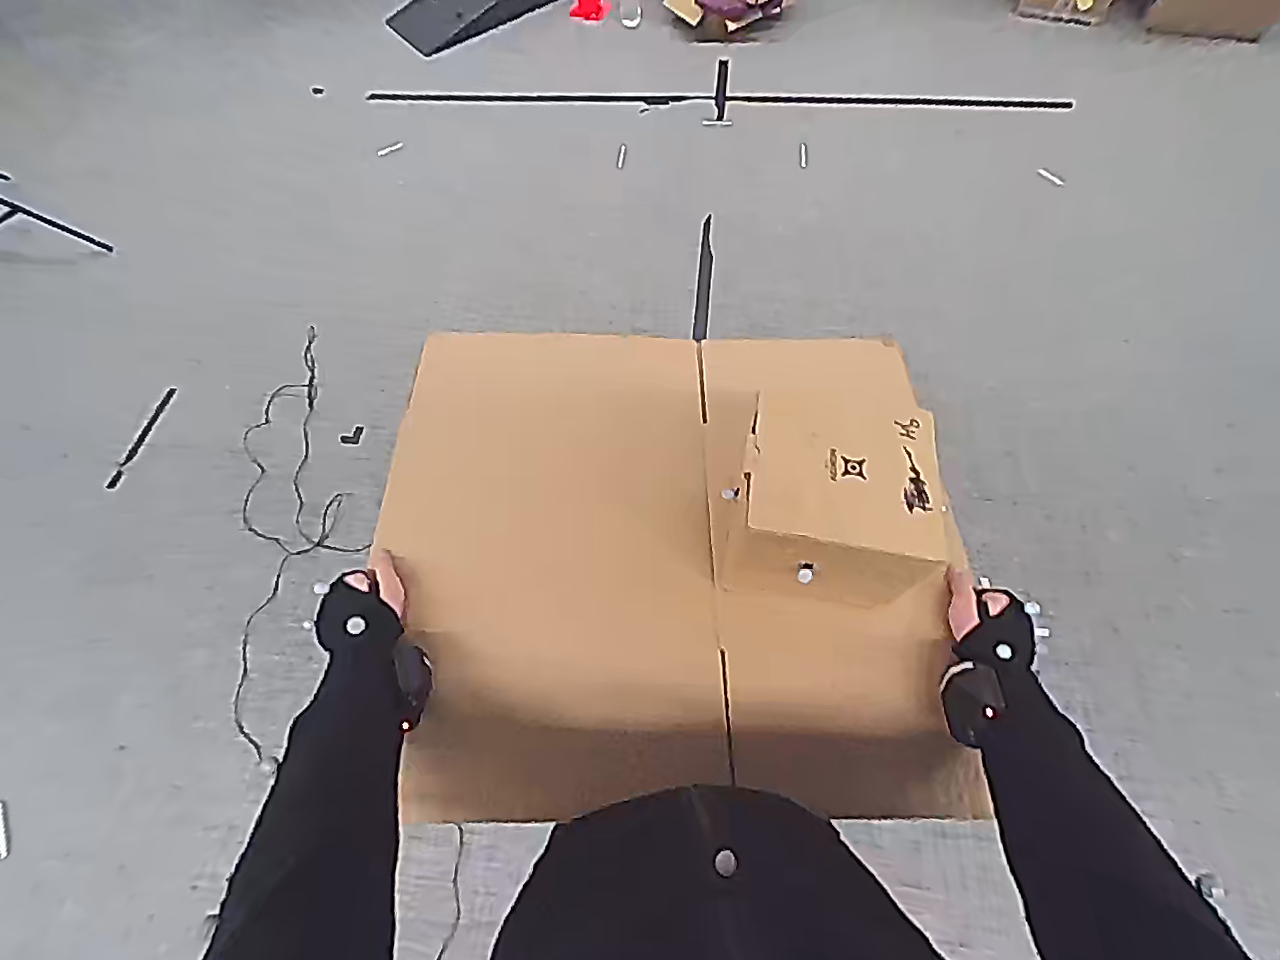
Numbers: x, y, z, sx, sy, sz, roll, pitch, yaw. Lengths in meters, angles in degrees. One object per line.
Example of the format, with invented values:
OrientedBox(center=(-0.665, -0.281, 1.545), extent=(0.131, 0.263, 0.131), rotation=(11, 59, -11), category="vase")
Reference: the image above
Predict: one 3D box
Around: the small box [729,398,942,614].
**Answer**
OrientedBox(center=(0.197, 0.035, 0.590), extent=(0.179, 0.176, 0.168), rotation=(9, 61, 6), category="small box")
